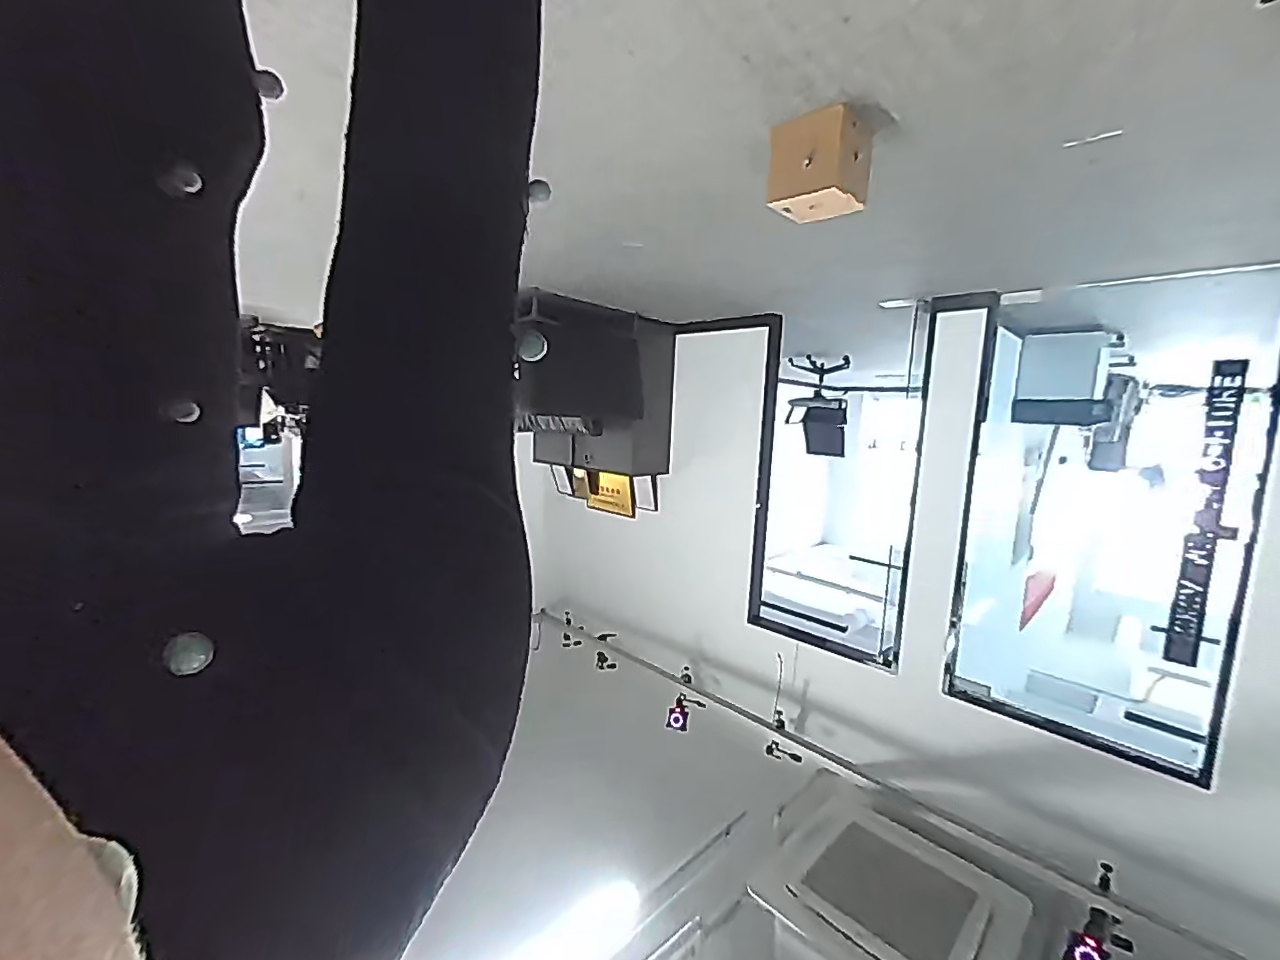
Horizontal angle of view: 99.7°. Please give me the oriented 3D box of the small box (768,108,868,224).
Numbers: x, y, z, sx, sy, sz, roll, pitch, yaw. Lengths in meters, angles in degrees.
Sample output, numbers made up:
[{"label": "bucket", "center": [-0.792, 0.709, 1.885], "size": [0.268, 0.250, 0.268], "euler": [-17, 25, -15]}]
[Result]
[{"label": "small box", "center": [0.415, -0.720, 1.252], "size": [0.179, 0.176, 0.168], "euler": [9, -171, 43]}]
